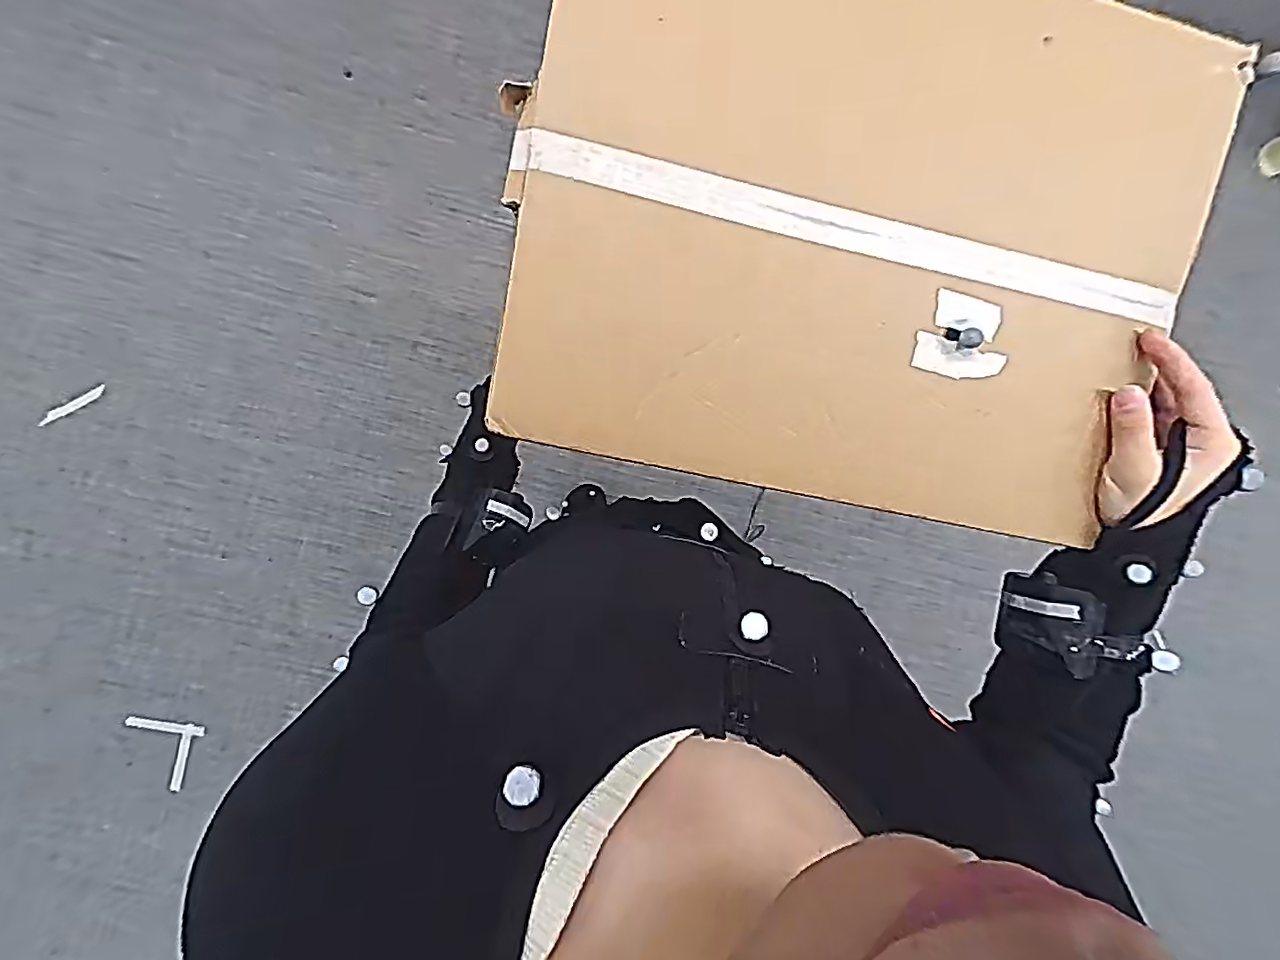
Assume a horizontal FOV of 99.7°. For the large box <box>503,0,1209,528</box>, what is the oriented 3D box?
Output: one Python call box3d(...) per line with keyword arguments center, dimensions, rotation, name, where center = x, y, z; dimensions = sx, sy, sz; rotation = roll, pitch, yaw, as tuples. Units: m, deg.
box3d(center=(0.118, -0.167, 0.476), dimensions=(0.408, 0.320, 0.320), rotation=(10, 99, -8), name="large box")
